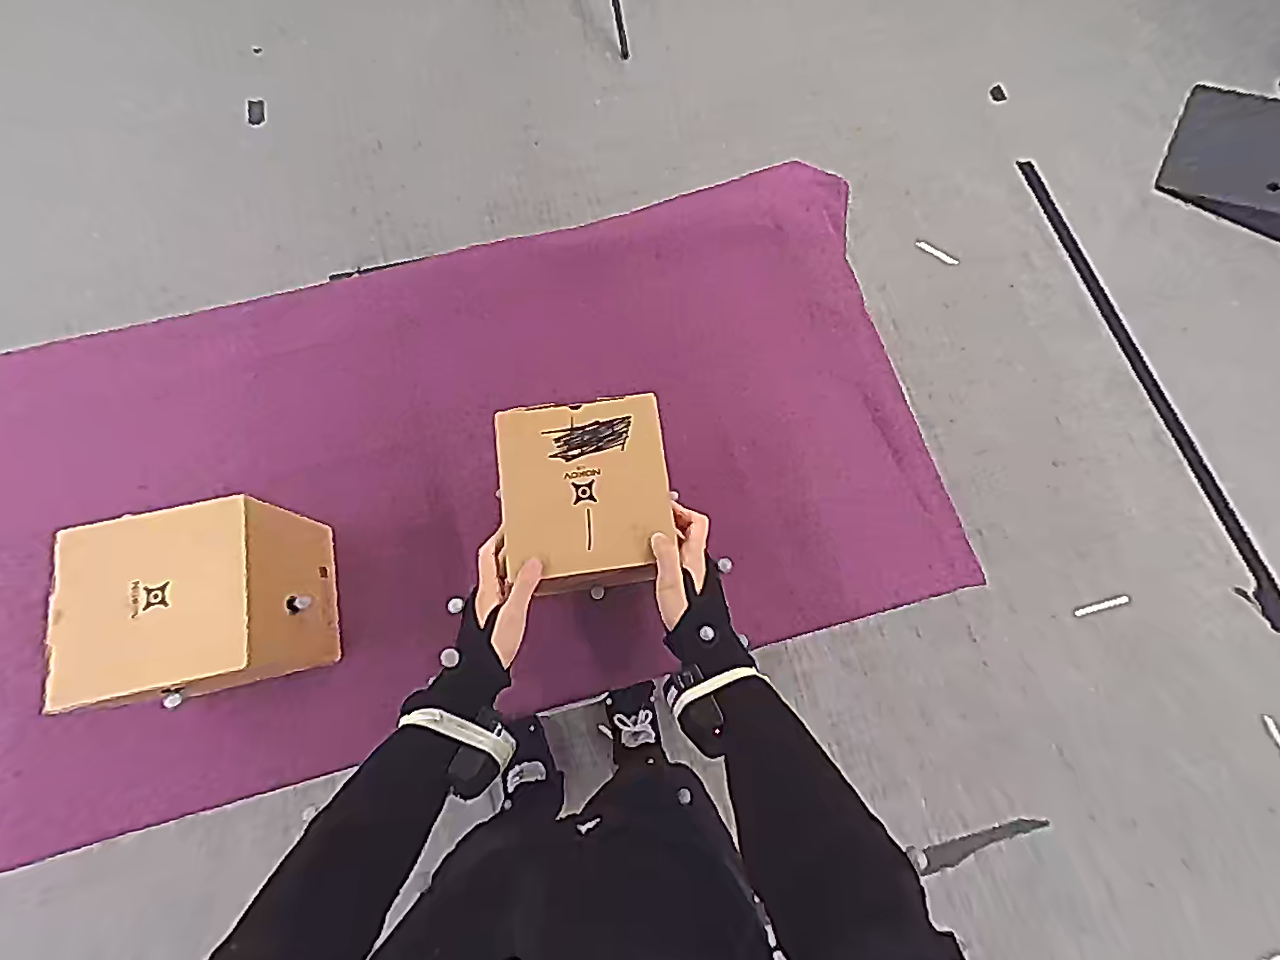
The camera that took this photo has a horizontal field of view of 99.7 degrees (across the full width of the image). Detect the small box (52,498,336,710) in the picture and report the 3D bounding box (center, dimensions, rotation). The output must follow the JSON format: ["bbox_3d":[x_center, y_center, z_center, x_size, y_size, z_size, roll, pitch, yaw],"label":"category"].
[{"bbox_3d":[-0.449,0.130,0.577,0.179,0.176,0.168,-12,75,-4],"label":"small box"}]

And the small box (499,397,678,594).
[{"bbox_3d":[-0.056,0.027,0.610,0.168,0.176,0.179,-7,75,-3],"label":"small box"}]
